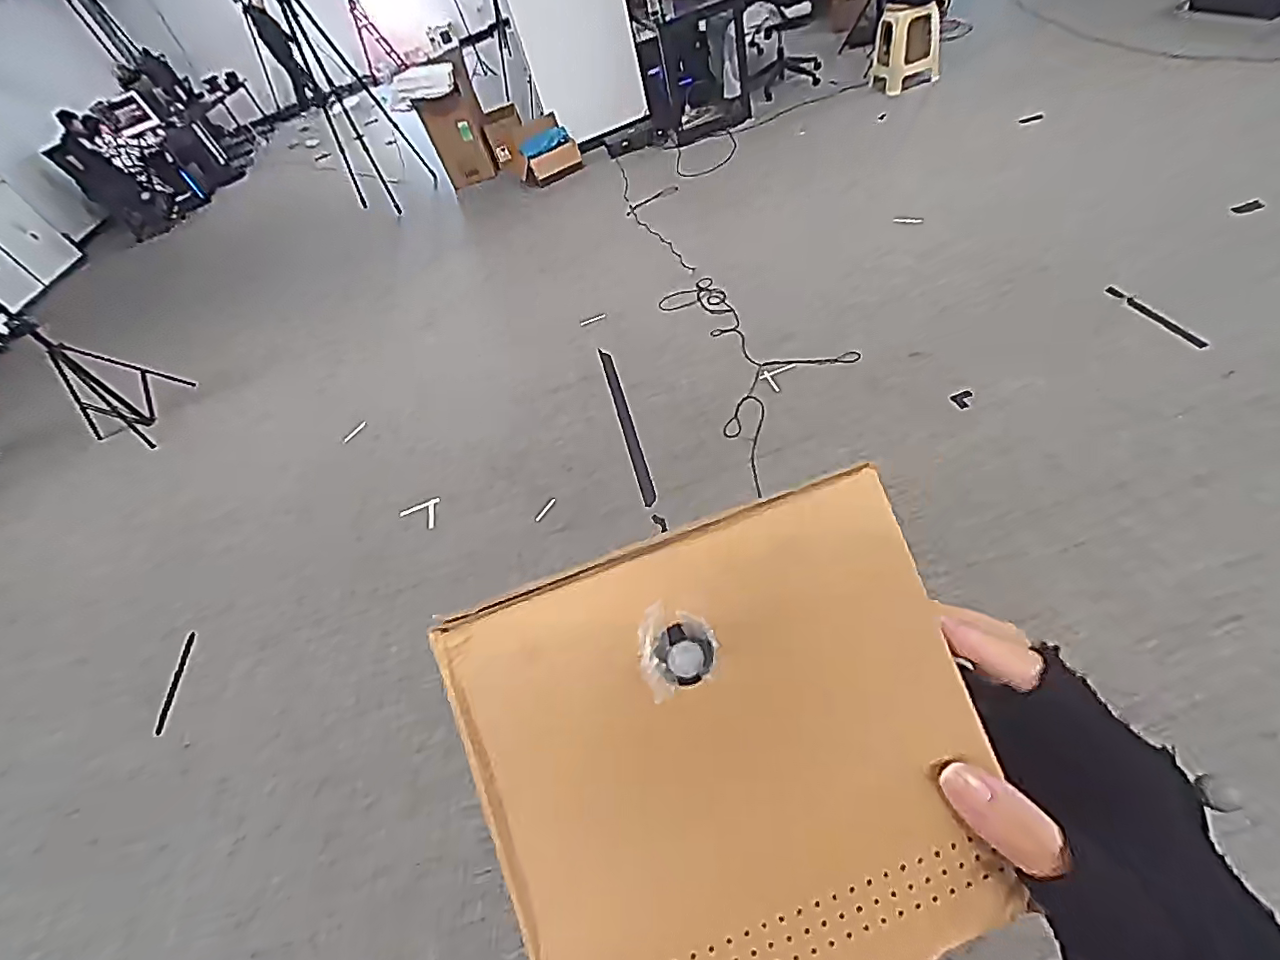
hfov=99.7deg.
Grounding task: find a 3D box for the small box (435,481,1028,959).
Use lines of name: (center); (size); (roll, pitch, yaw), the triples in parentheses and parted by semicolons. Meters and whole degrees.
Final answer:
small box: (0.033, 0.116, 0.268); (0.179, 0.168, 0.176); (-20, 84, -3)
